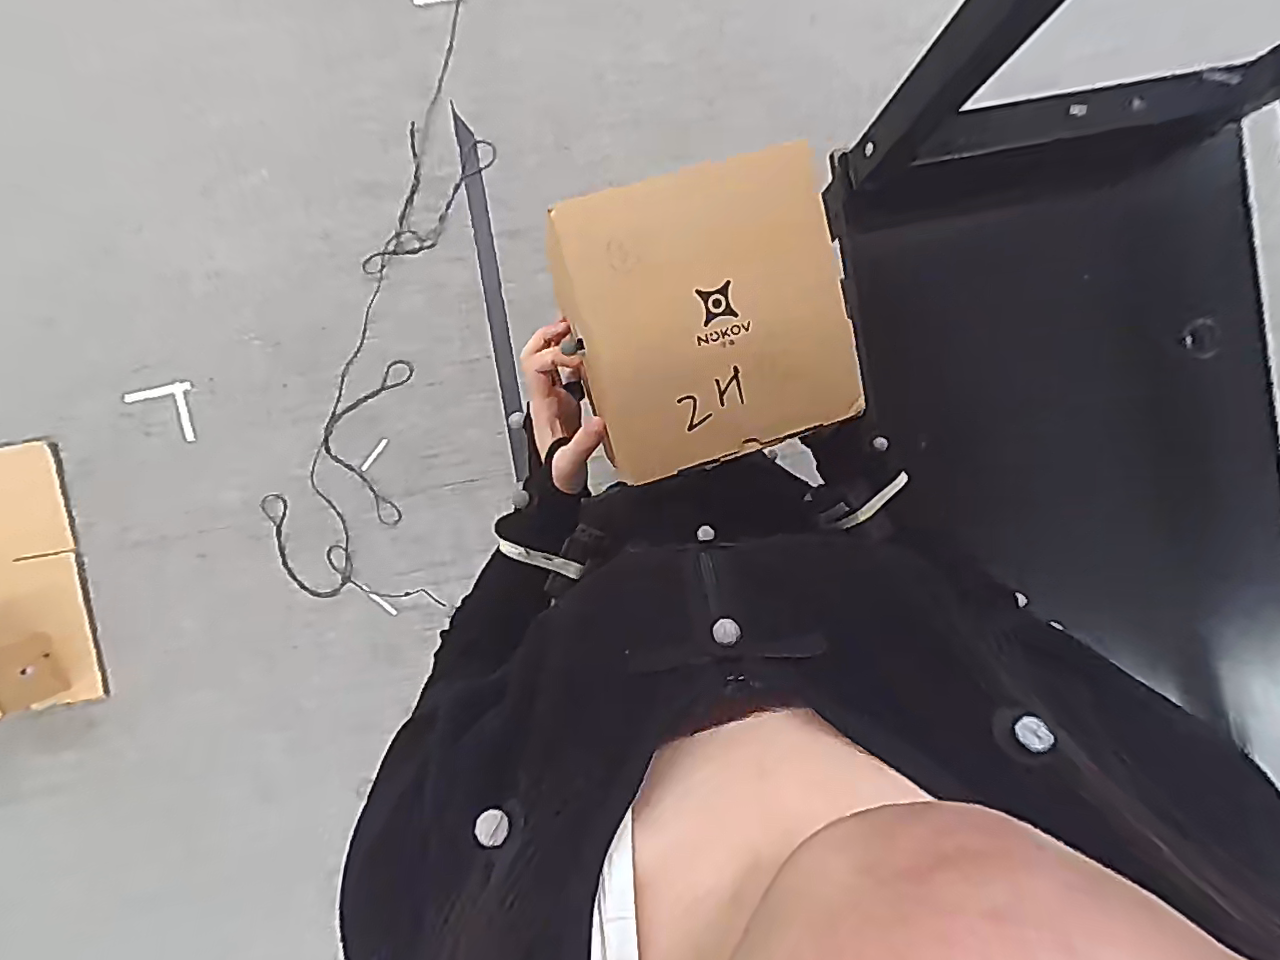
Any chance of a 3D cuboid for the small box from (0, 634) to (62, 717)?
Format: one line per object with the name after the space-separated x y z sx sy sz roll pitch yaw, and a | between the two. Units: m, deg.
-1.611 0.507 1.340 0.179 0.176 0.168 -23 94 -2 | small box
